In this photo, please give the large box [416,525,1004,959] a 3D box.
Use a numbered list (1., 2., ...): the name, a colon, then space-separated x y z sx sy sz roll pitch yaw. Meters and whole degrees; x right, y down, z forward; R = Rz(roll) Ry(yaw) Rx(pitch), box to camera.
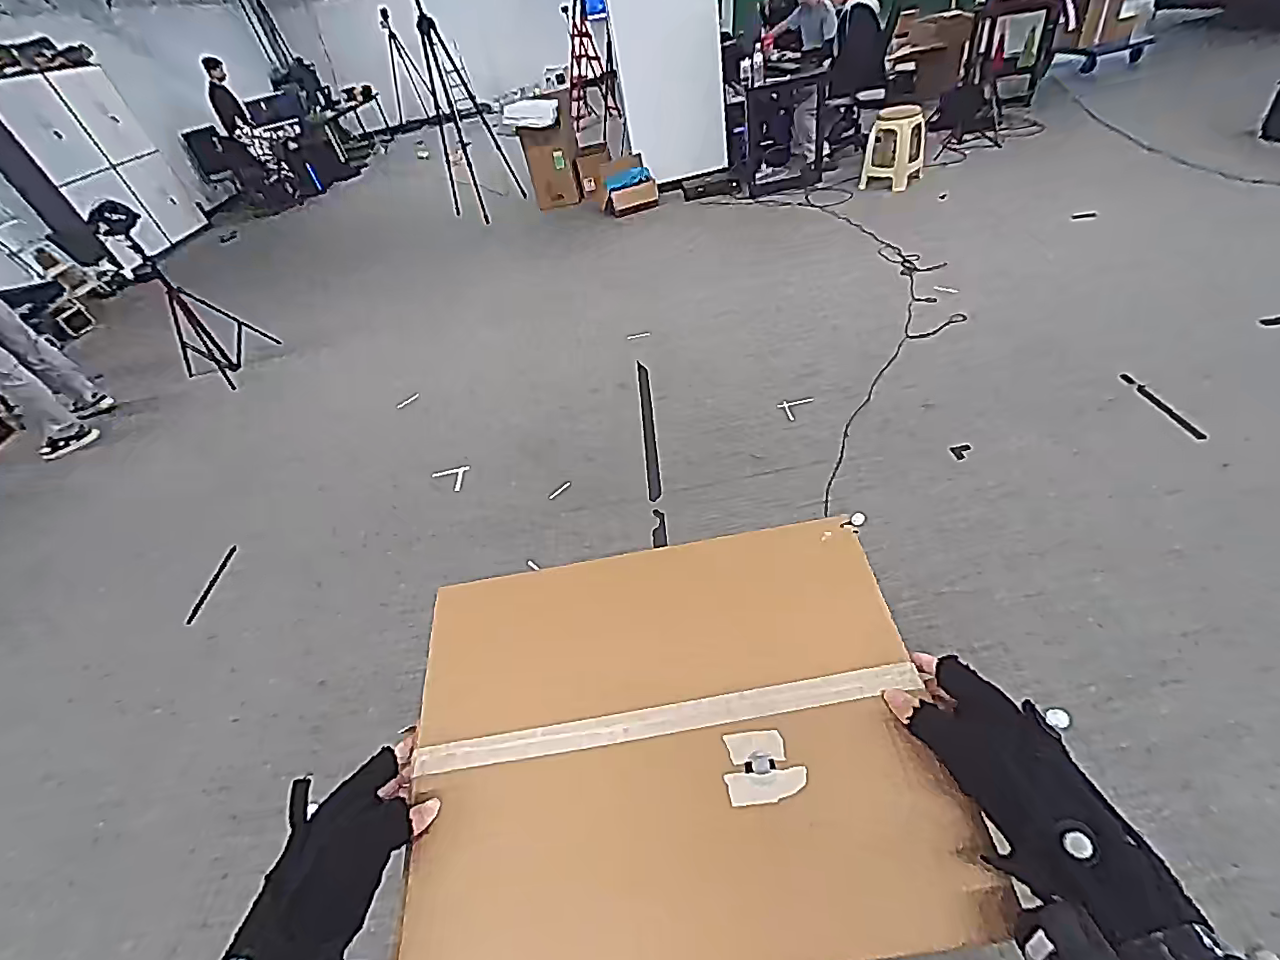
1. large box: 0.043 0.290 0.560 0.408 0.320 0.320 -10 52 2
